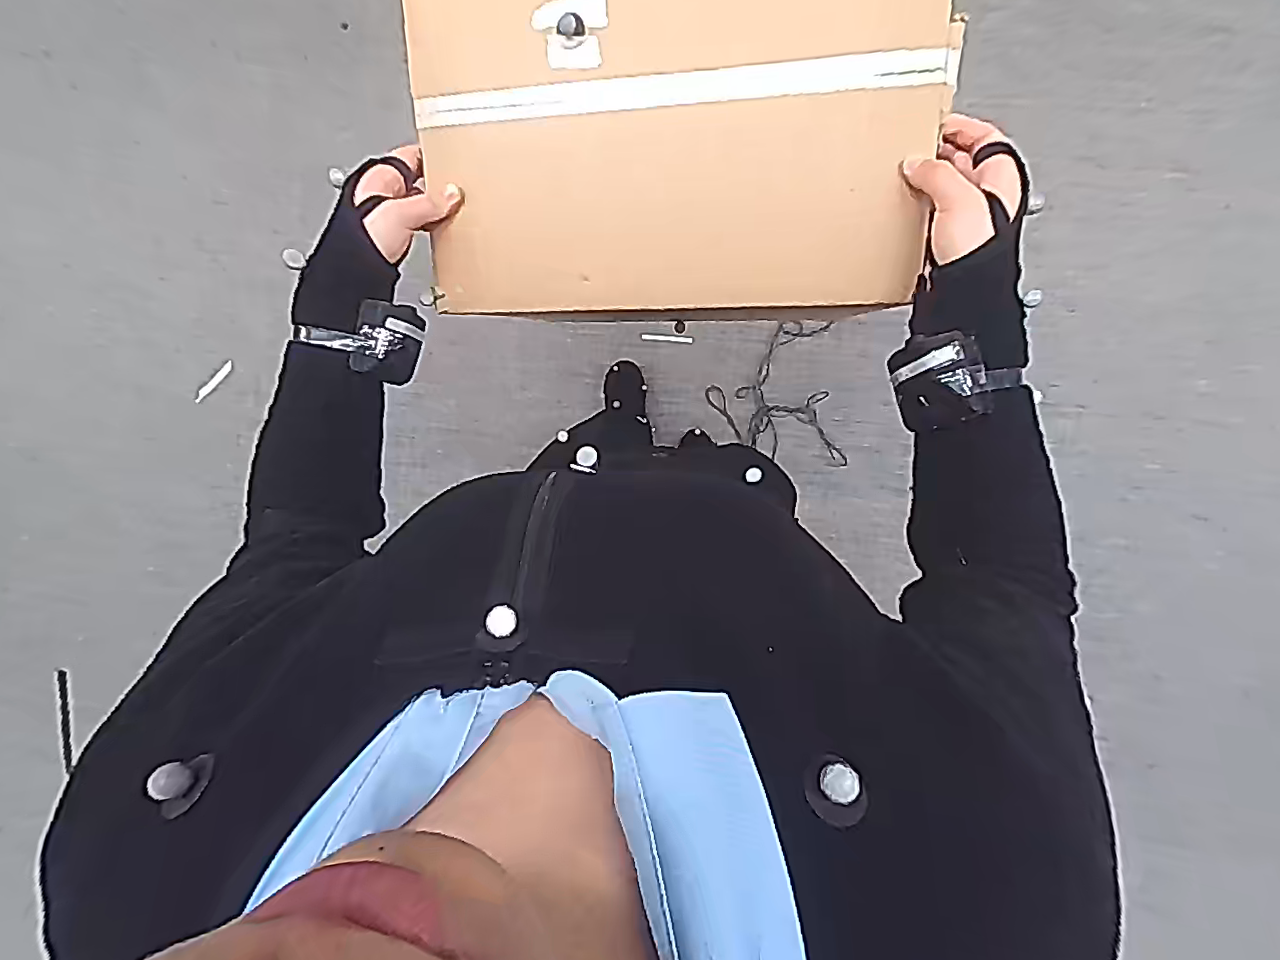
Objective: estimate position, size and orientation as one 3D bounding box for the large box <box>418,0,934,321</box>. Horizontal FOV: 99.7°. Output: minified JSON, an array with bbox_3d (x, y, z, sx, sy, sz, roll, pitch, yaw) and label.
[{"bbox_3d":[0.043,-0.336,0.569,0.408,0.320,0.320,2,103,10],"label":"large box"}]
